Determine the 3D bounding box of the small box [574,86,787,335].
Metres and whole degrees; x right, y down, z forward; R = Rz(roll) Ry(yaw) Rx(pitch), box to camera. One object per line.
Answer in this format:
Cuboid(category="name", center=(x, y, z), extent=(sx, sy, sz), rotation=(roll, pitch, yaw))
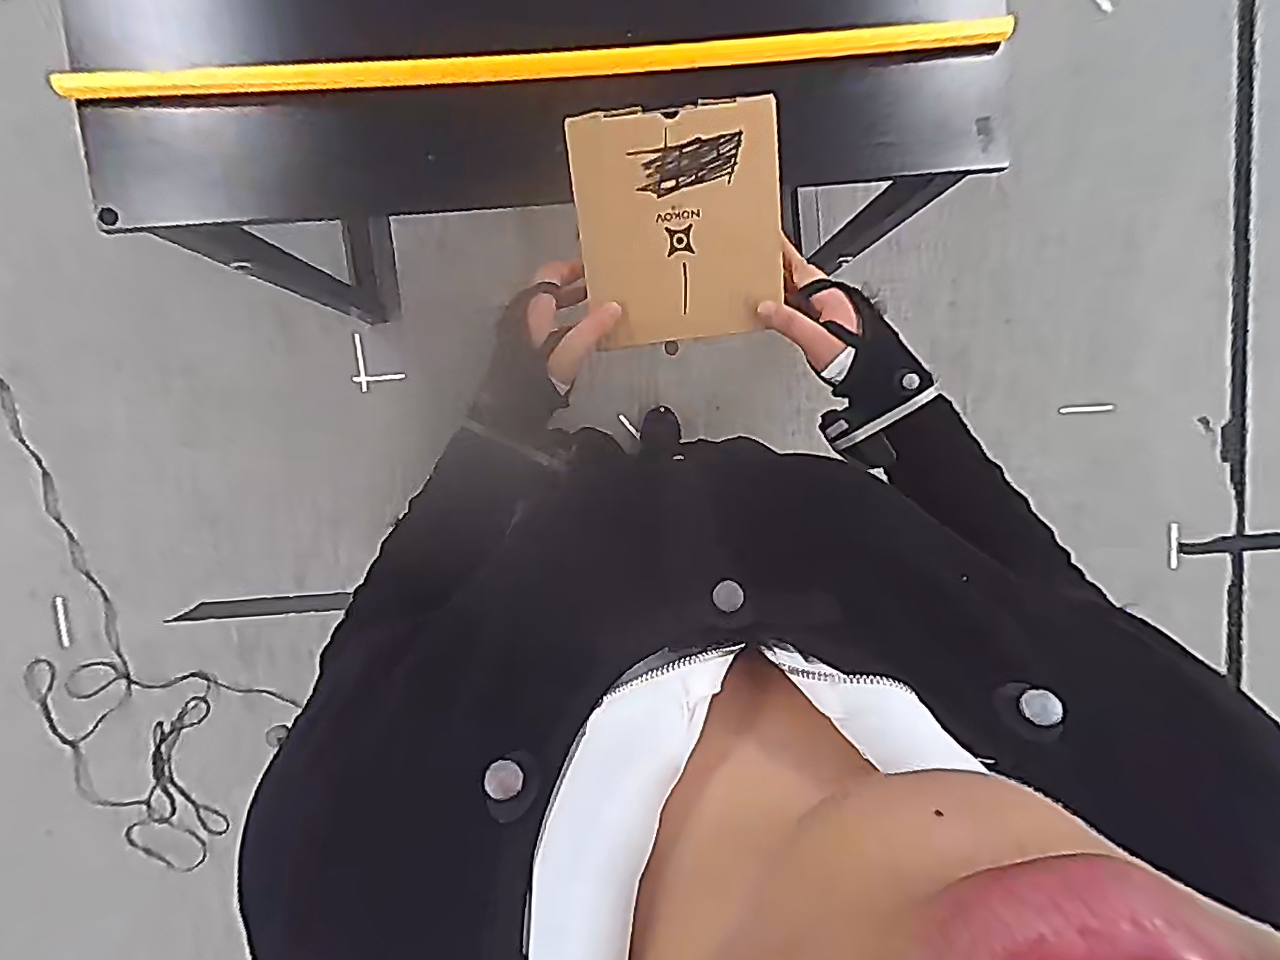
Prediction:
Cuboid(category="small box", center=(0.033, -0.235, 0.516), extent=(0.168, 0.176, 0.179), rotation=(-7, 106, 0))
